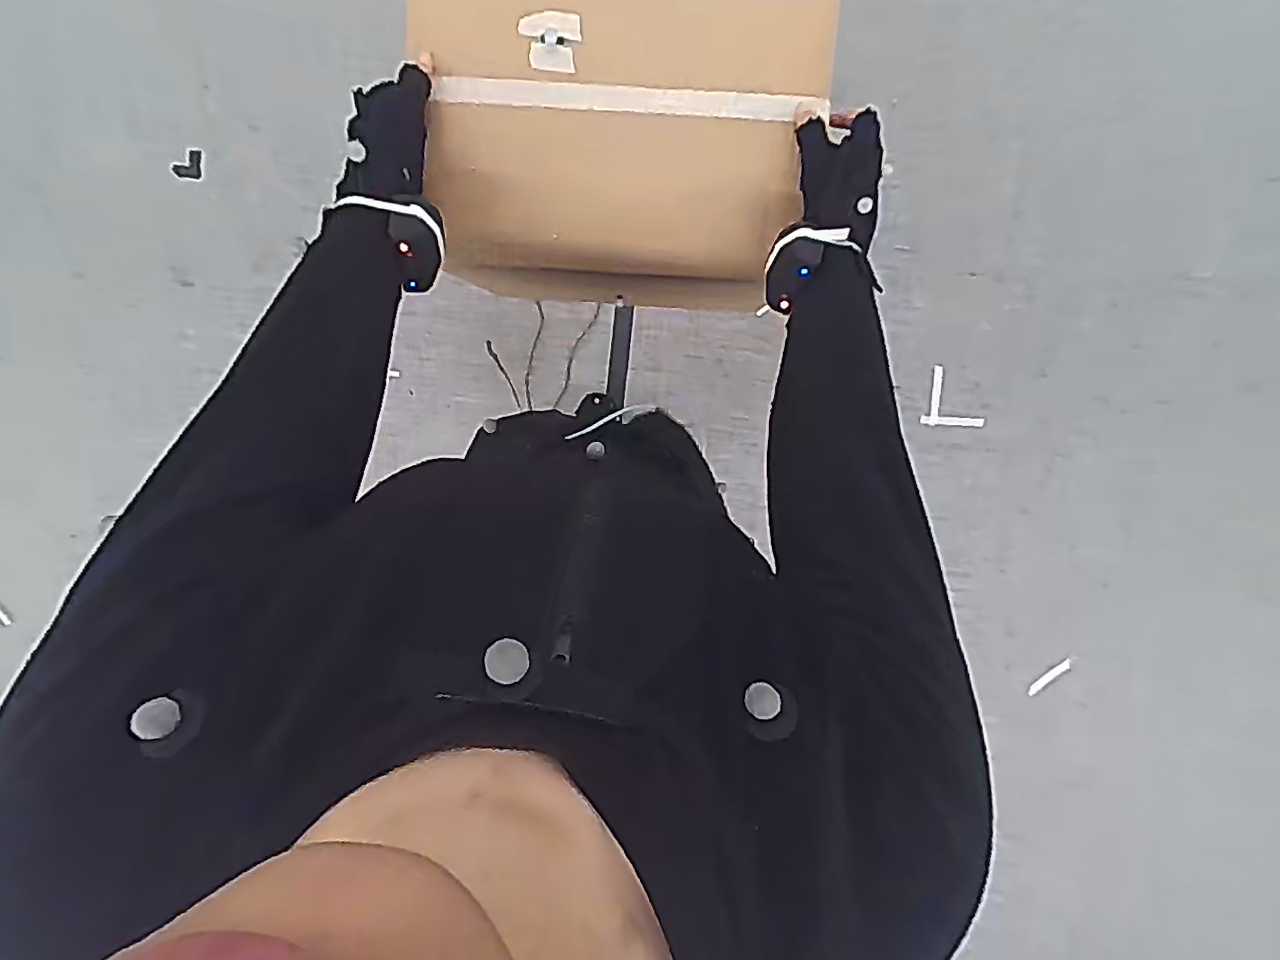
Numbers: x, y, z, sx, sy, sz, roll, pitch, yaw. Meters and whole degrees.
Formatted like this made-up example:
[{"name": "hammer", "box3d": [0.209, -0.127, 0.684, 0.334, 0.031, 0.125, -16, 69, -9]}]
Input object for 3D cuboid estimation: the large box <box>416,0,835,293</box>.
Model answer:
[{"name": "large box", "box3d": [-0.015, -0.412, 0.671, 0.408, 0.320, 0.320, 4, 102, 0]}]
